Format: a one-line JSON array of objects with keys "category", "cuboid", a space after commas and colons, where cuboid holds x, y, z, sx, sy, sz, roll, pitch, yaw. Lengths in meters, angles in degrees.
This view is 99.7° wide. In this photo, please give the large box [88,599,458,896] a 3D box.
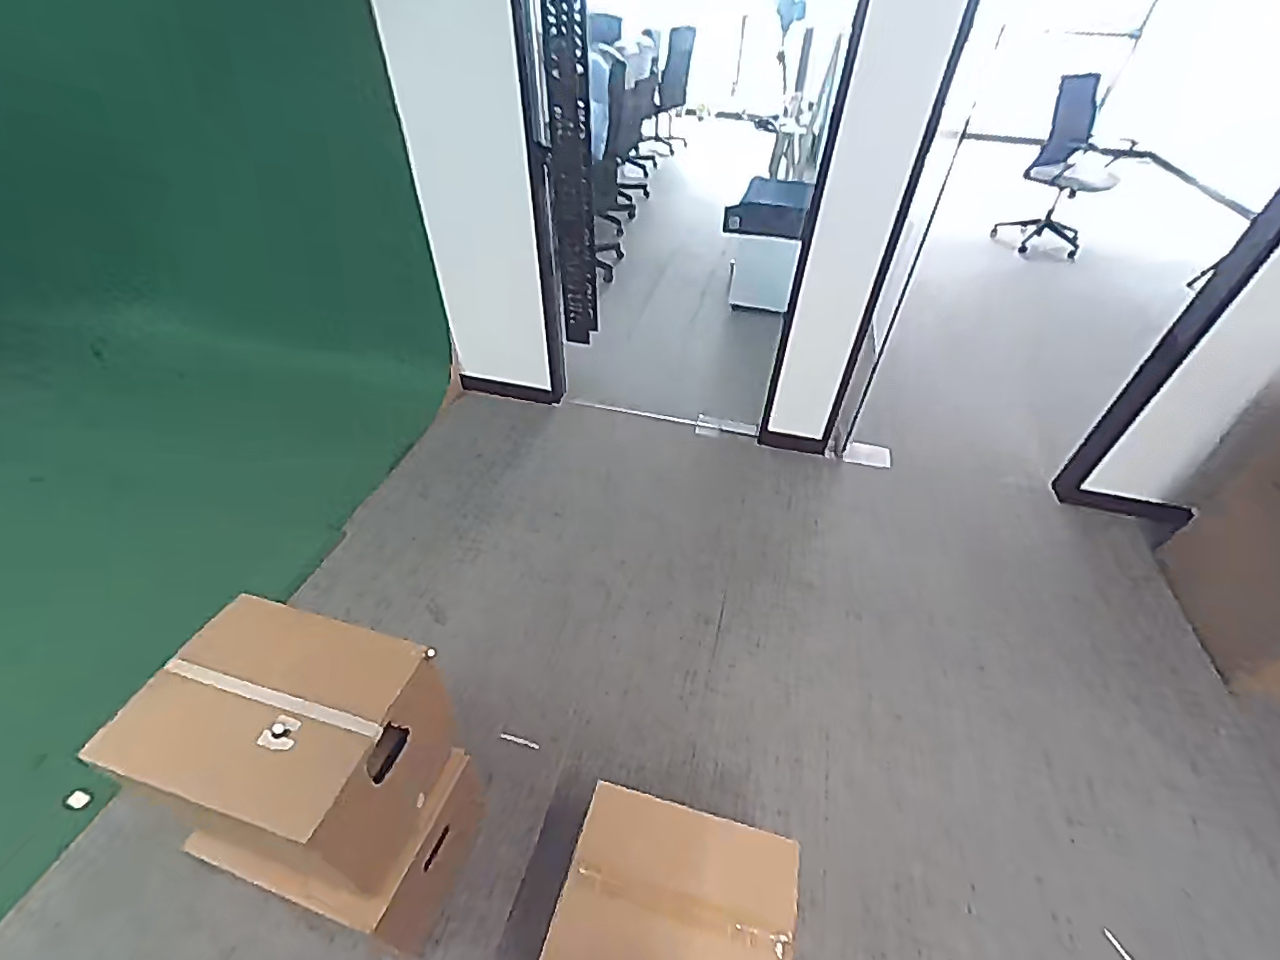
[{"category": "large box", "cuboid": [-0.603, 0.471, 0.976, 0.408, 0.320, 0.320, 13, 41, 10]}]
